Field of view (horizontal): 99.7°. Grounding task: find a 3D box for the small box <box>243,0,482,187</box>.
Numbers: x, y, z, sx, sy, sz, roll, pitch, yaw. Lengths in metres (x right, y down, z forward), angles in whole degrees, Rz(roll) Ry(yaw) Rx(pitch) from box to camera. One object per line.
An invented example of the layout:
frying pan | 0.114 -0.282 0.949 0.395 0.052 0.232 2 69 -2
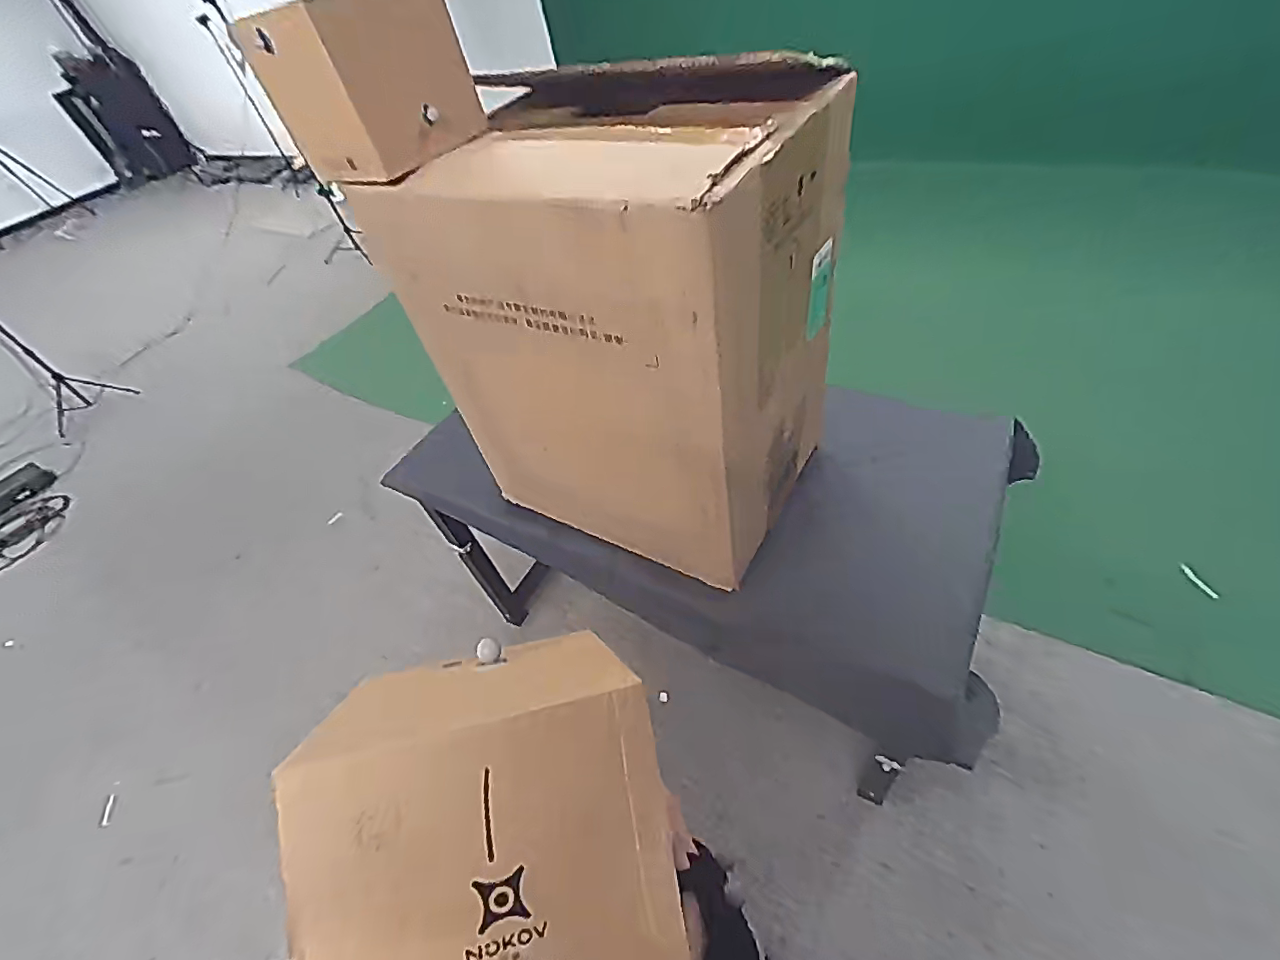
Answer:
small box | -0.320 -0.482 0.664 0.168 0.176 0.179 18 54 31
